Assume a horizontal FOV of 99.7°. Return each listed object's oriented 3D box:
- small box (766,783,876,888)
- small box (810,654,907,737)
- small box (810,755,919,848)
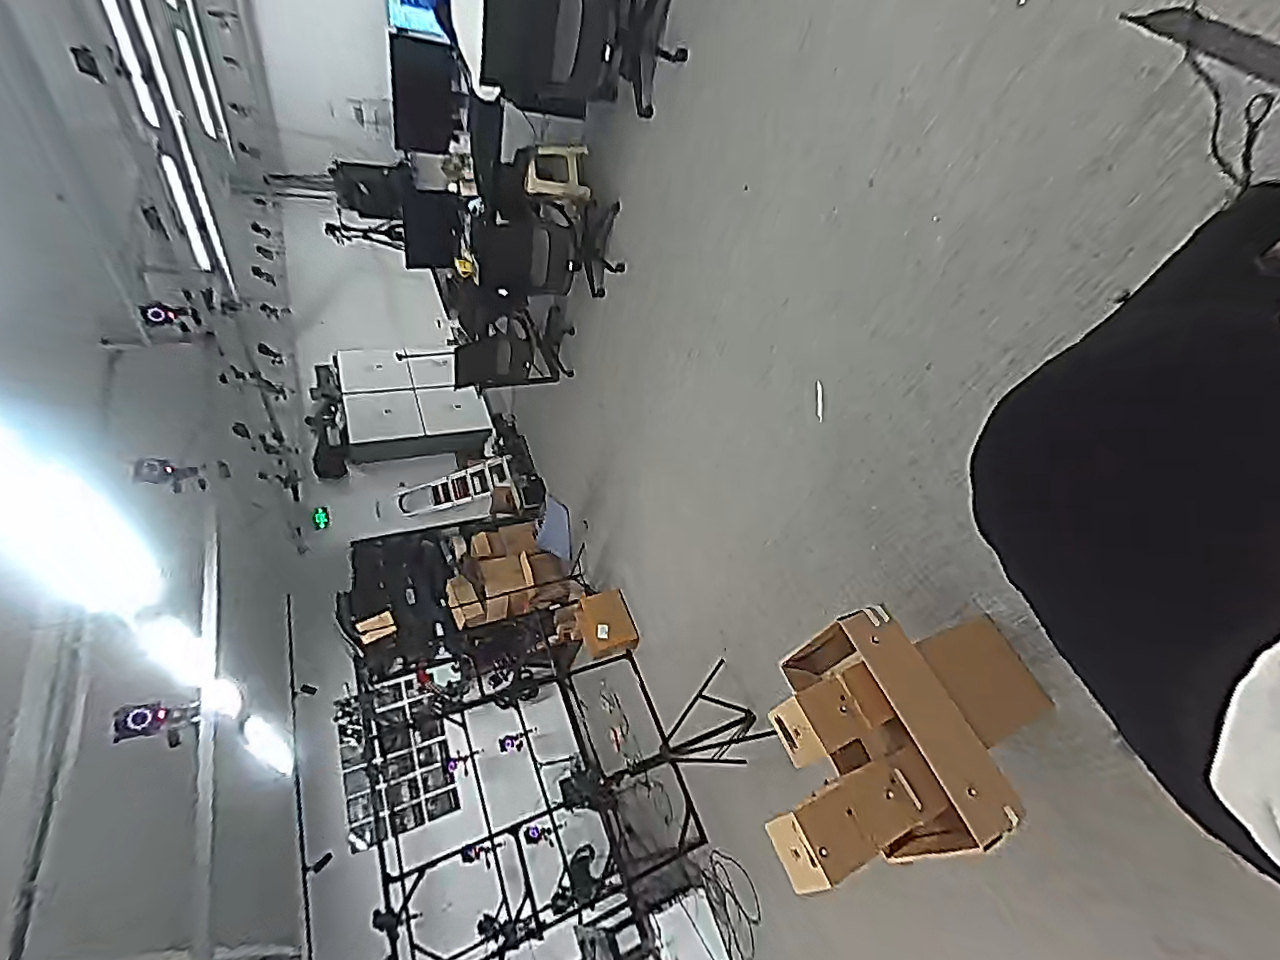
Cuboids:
[{"bbox_3d":[0.458,0.902,1.374,0.168,0.176,0.179,62,150,31],"label":"small box"},{"bbox_3d":[0.657,0.648,1.629,0.168,0.176,0.179,63,150,26],"label":"small box"},{"bbox_3d":[0.601,0.868,1.449,0.168,0.176,0.179,62,149,31],"label":"small box"}]
